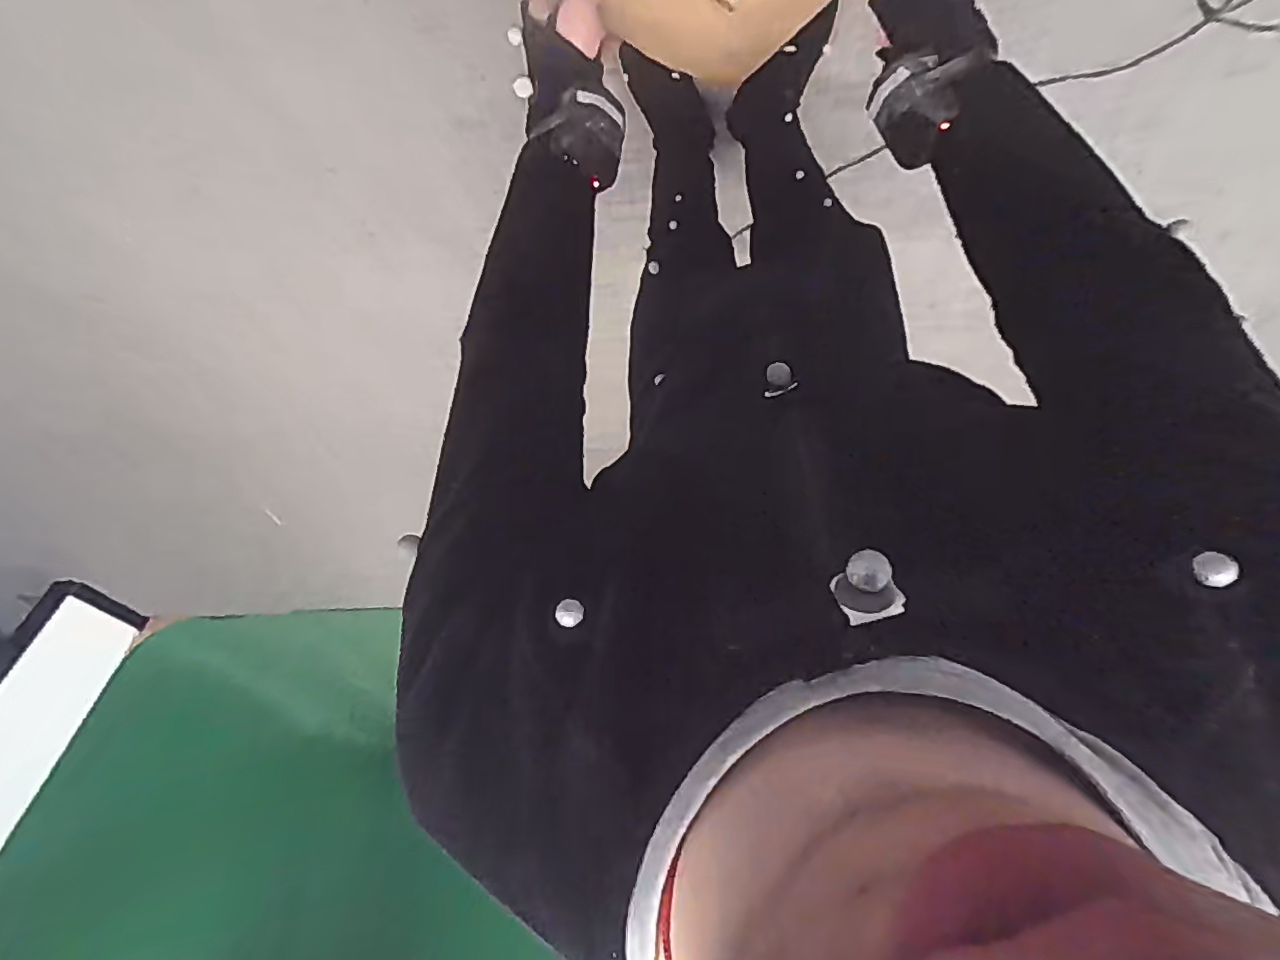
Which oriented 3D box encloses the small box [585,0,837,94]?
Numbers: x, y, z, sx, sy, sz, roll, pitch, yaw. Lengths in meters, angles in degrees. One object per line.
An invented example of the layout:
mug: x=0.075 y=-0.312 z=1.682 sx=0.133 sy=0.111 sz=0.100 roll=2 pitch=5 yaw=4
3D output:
small box: x=0.066 y=-0.482 z=0.447 sx=0.168 sy=0.176 sz=0.179 roll=-2 pitch=180 yaw=-35
